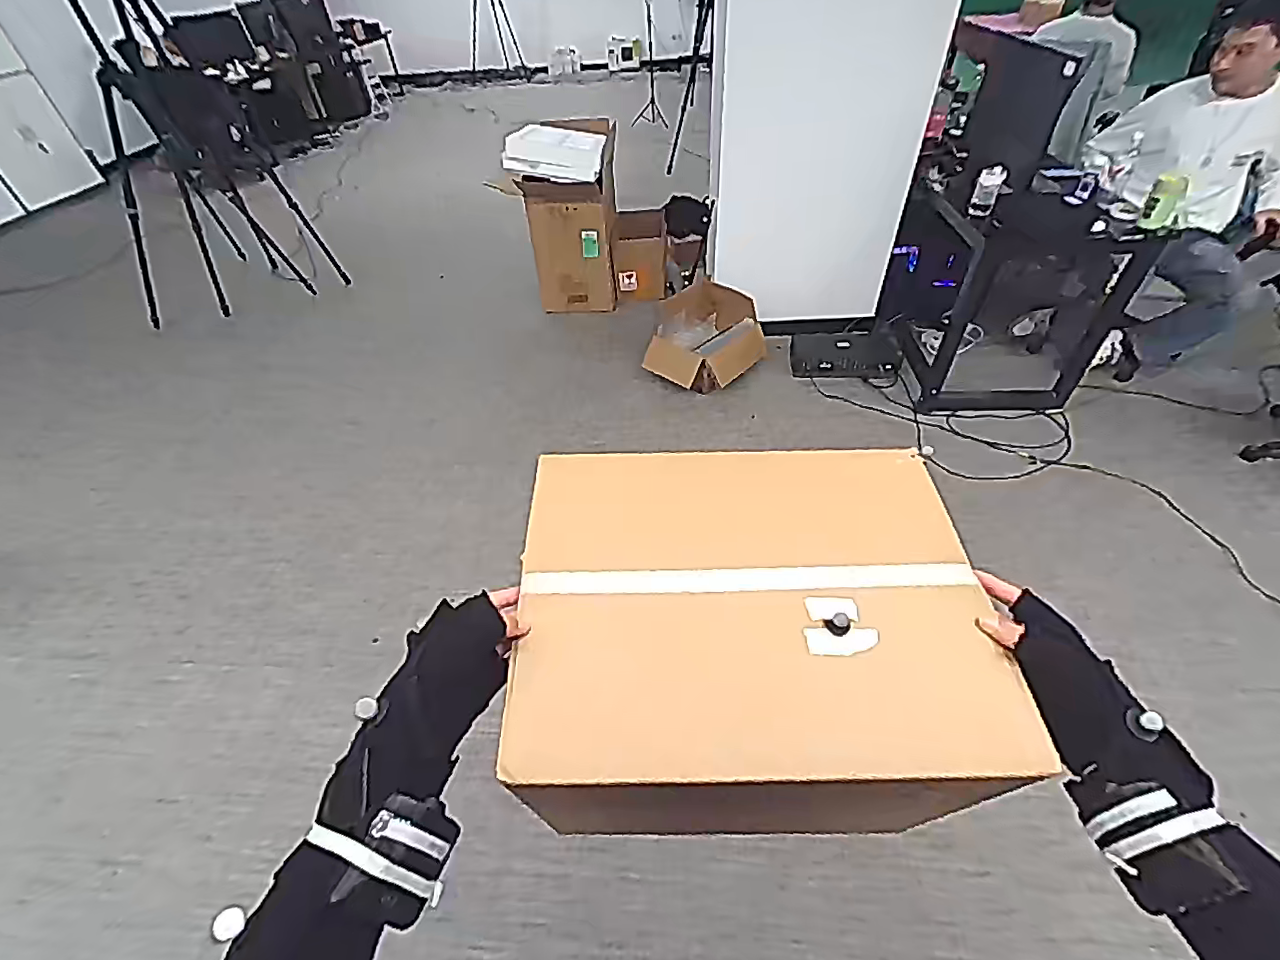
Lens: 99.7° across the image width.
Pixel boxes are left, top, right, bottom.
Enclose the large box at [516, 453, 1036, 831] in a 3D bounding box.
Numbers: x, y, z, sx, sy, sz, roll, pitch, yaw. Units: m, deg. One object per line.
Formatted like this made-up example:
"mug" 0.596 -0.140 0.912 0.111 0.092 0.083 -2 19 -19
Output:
"large box" 0.099 0.188 0.612 0.408 0.320 0.320 -1 51 0
